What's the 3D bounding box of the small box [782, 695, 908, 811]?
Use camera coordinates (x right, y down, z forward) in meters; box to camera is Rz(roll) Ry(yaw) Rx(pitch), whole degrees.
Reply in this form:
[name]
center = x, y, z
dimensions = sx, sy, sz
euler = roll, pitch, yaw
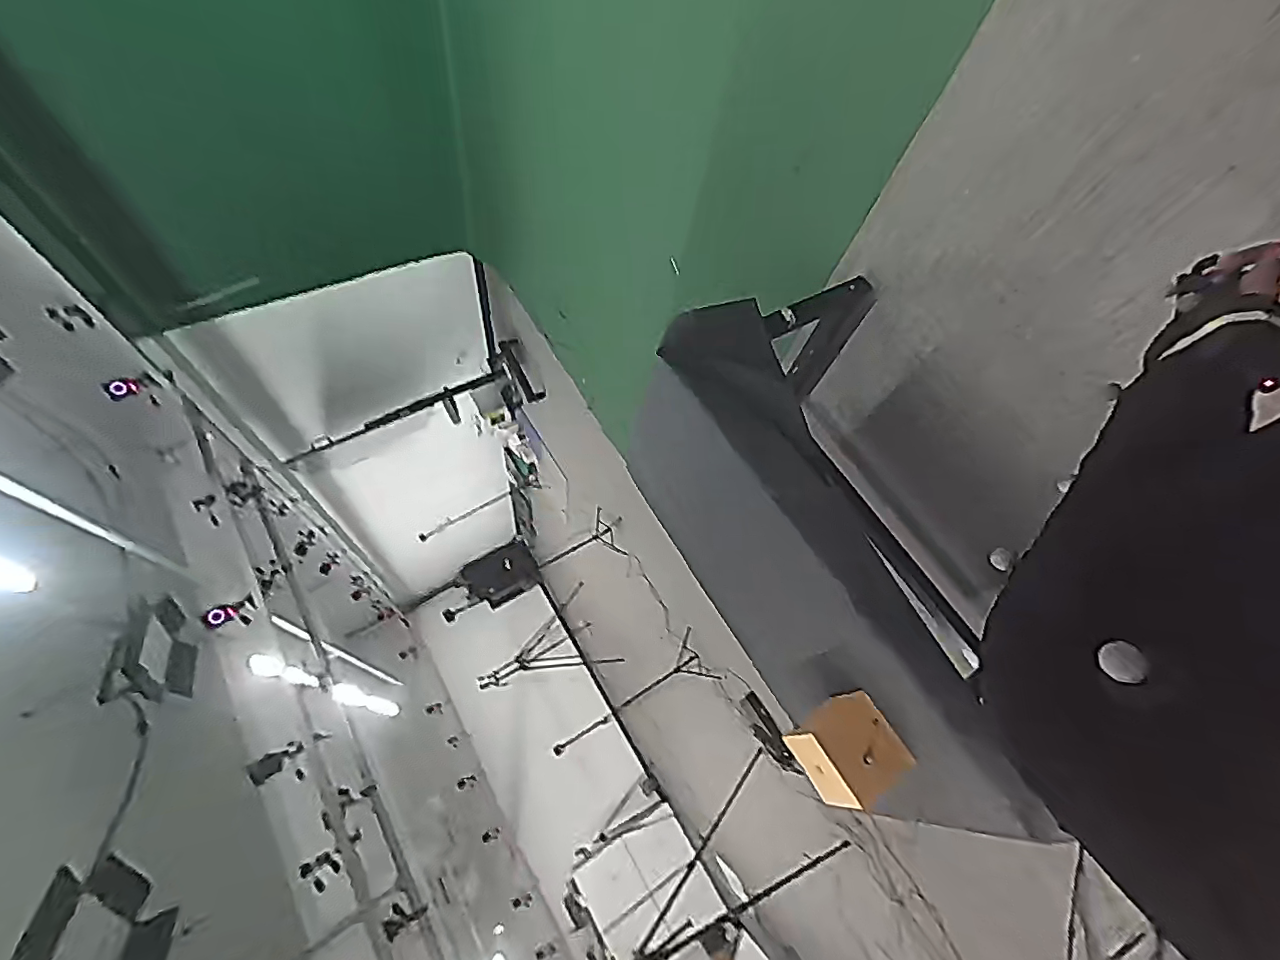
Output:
[small box]
center = 0.454, 0.598, 1.196
dimensions = 0.168, 0.176, 0.179
euler = 55, 158, 20
